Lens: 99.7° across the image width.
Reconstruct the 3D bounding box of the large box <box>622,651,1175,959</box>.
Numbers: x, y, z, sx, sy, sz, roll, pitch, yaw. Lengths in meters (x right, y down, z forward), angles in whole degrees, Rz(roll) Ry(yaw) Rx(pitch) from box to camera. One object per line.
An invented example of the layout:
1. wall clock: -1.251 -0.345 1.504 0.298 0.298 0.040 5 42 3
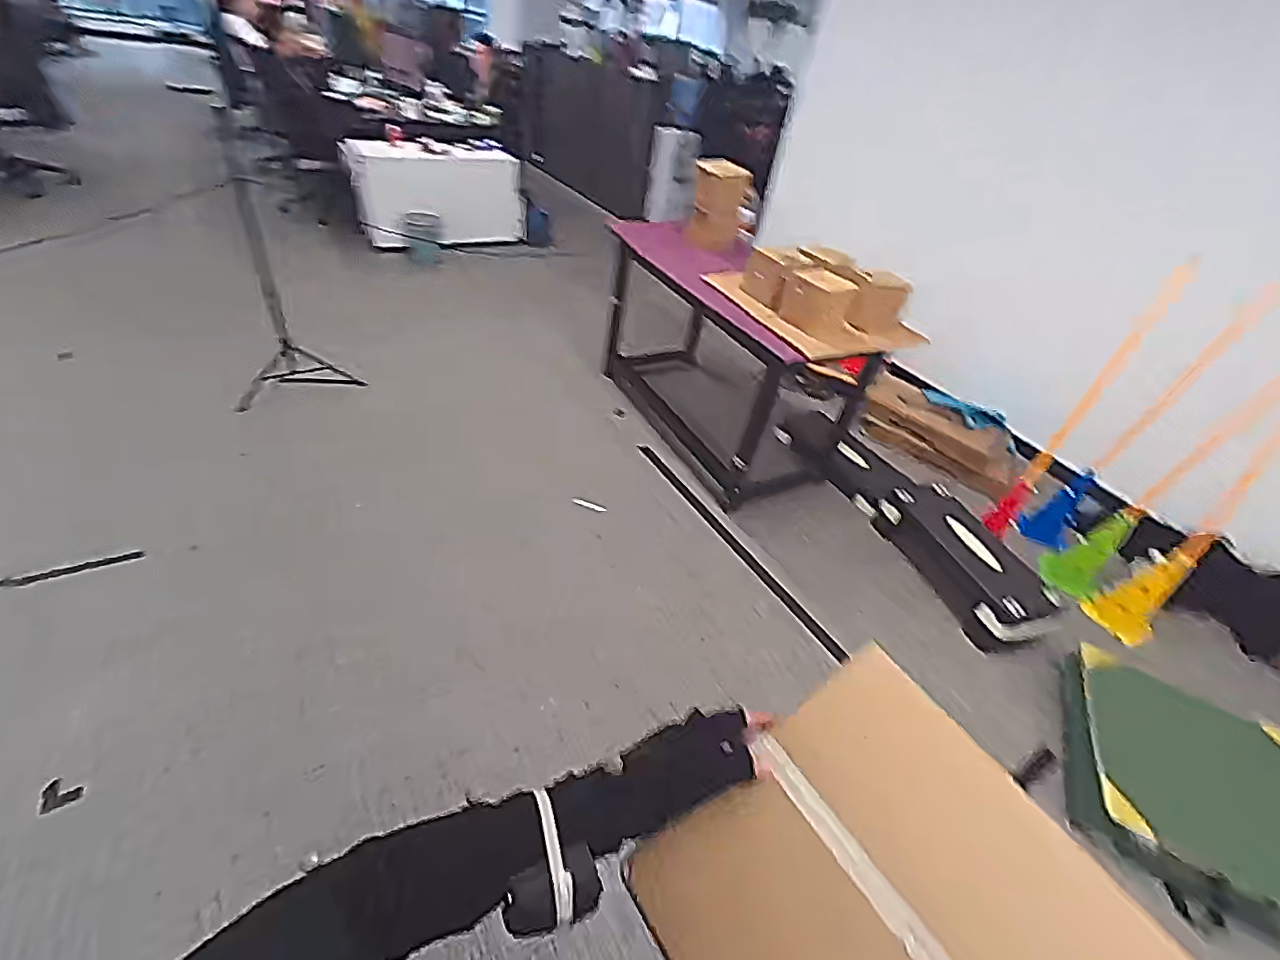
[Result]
1. large box: 0.219 0.458 0.524 0.320 0.320 0.408 -30 60 -21
